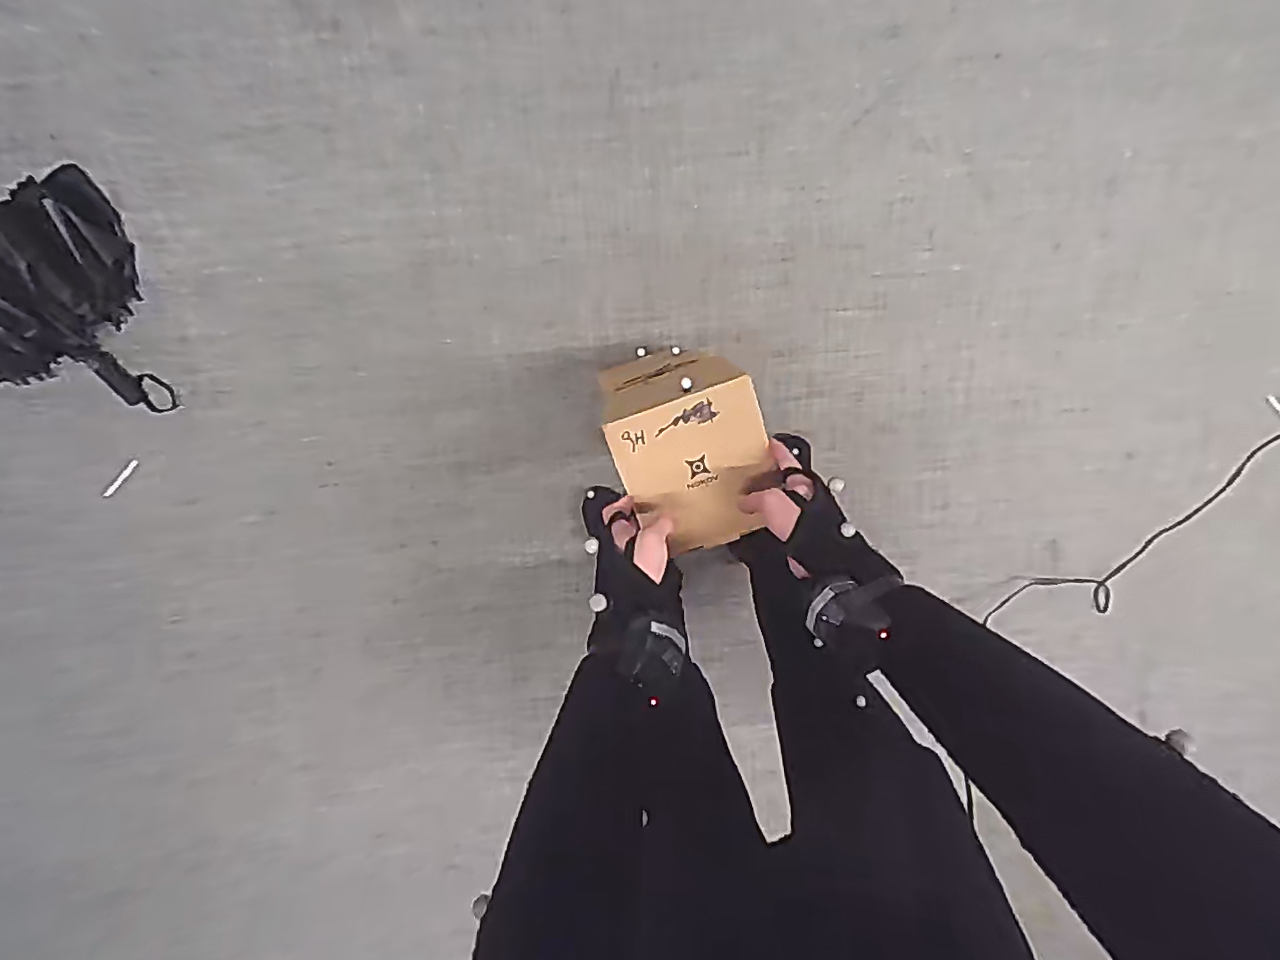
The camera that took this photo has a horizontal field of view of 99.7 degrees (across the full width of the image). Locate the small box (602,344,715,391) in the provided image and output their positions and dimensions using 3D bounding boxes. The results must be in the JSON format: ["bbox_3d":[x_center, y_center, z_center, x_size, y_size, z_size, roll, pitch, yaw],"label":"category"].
[{"bbox_3d":[0.041,-0.104,0.836,0.168,0.176,0.179,-18,108,1],"label":"small box"}]

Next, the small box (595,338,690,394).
[{"bbox_3d":[0.024,-0.152,0.992,0.168,0.176,0.179,-19,106,1],"label":"small box"}]

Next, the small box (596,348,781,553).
[{"bbox_3d":[0.056,-0.044,0.660,0.168,0.176,0.179,-19,111,6],"label":"small box"}]
